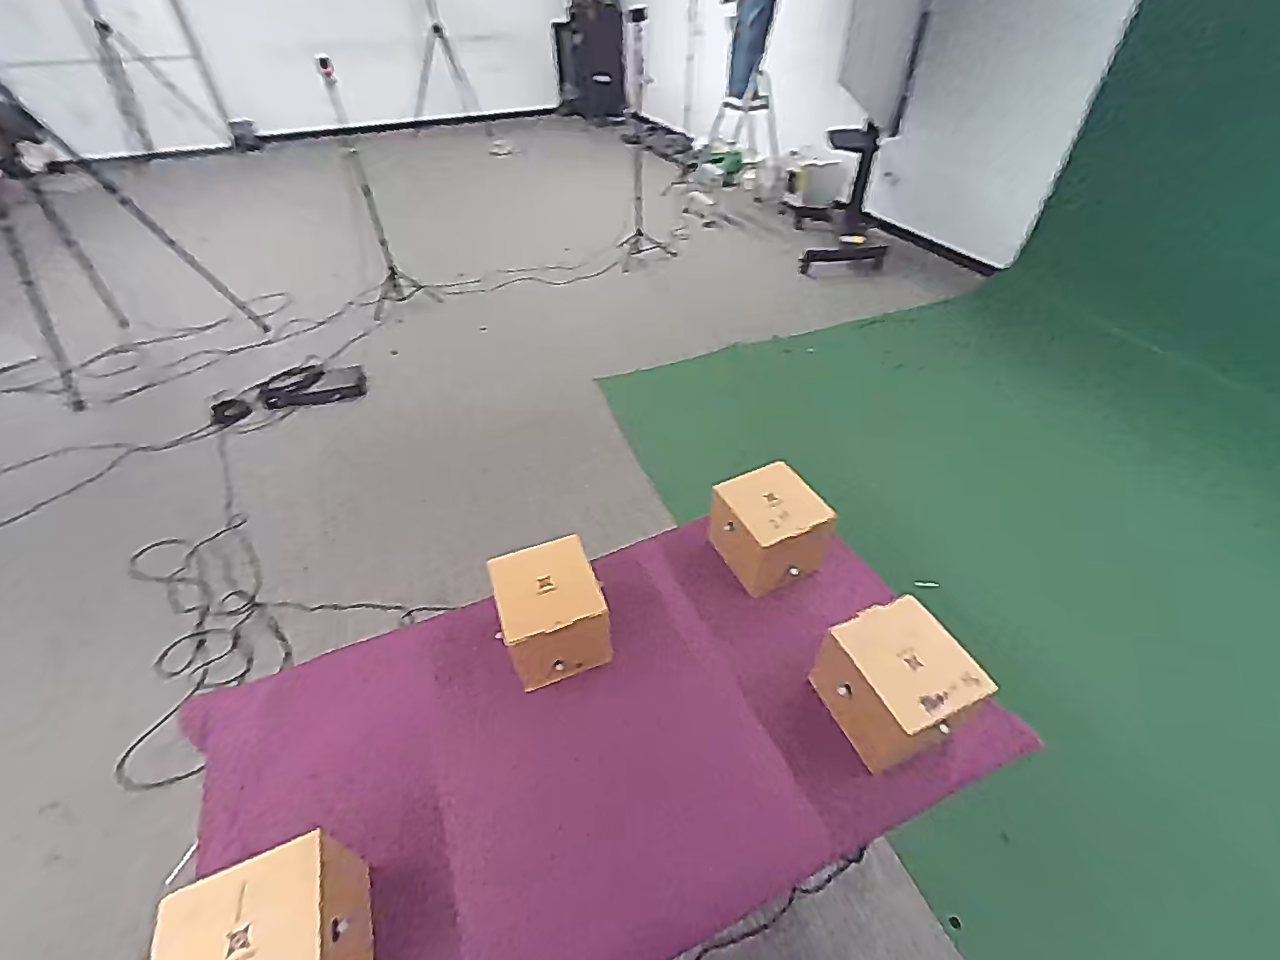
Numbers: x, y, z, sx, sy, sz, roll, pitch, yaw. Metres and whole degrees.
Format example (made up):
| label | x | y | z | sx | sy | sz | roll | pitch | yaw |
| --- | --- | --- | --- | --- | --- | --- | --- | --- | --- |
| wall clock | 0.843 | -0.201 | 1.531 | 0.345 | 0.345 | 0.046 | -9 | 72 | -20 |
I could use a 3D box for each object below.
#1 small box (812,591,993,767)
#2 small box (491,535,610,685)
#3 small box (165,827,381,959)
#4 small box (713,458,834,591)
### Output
| label | x | y | z | sx | sy | sz | roll | pitch | yaw |
| --- | --- | --- | --- | --- | --- | --- | --- | --- | --- |
| small box | 0.398 | 0.315 | 0.858 | 0.168 | 0.176 | 0.179 | -18 | 46 | -14 |
| small box | -0.158 | 0.234 | 0.976 | 0.168 | 0.176 | 0.179 | -17 | 48 | -15 |
| small box | -0.424 | 0.563 | 0.645 | 0.168 | 0.176 | 0.179 | -18 | 44 | -16 |
| small box | 0.258 | 0.091 | 1.096 | 0.168 | 0.176 | 0.179 | -21 | 48 | -14 |
